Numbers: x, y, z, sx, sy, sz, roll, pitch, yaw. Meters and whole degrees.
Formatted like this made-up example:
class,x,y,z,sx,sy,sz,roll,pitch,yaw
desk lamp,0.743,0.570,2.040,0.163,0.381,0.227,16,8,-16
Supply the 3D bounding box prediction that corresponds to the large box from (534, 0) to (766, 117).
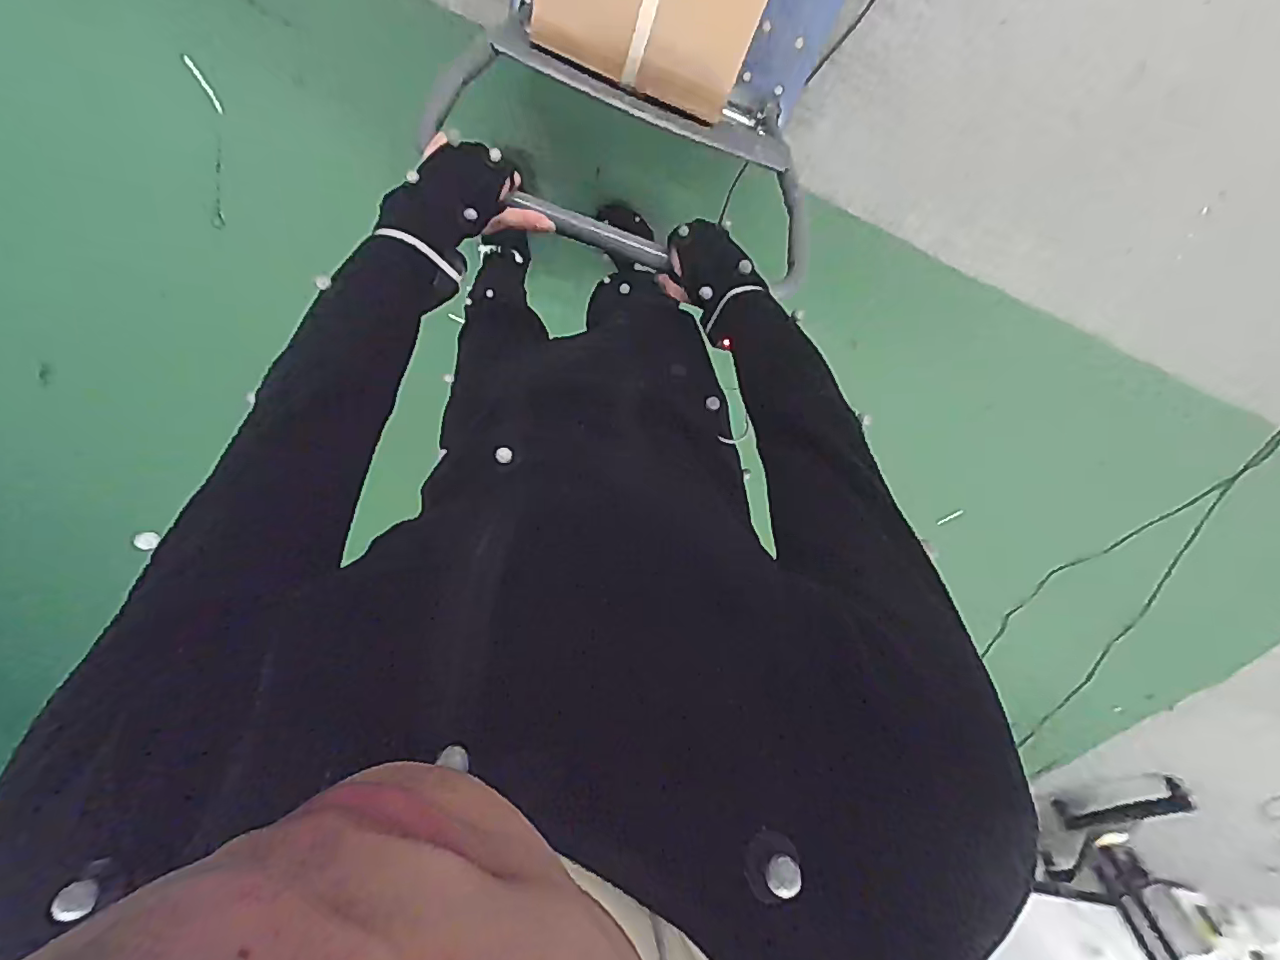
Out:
class,x,y,z,sx,sy,sz,roll,pitch,yaw
large box,0.055,-0.854,0.816,0.320,0.320,0.408,16,132,-12
